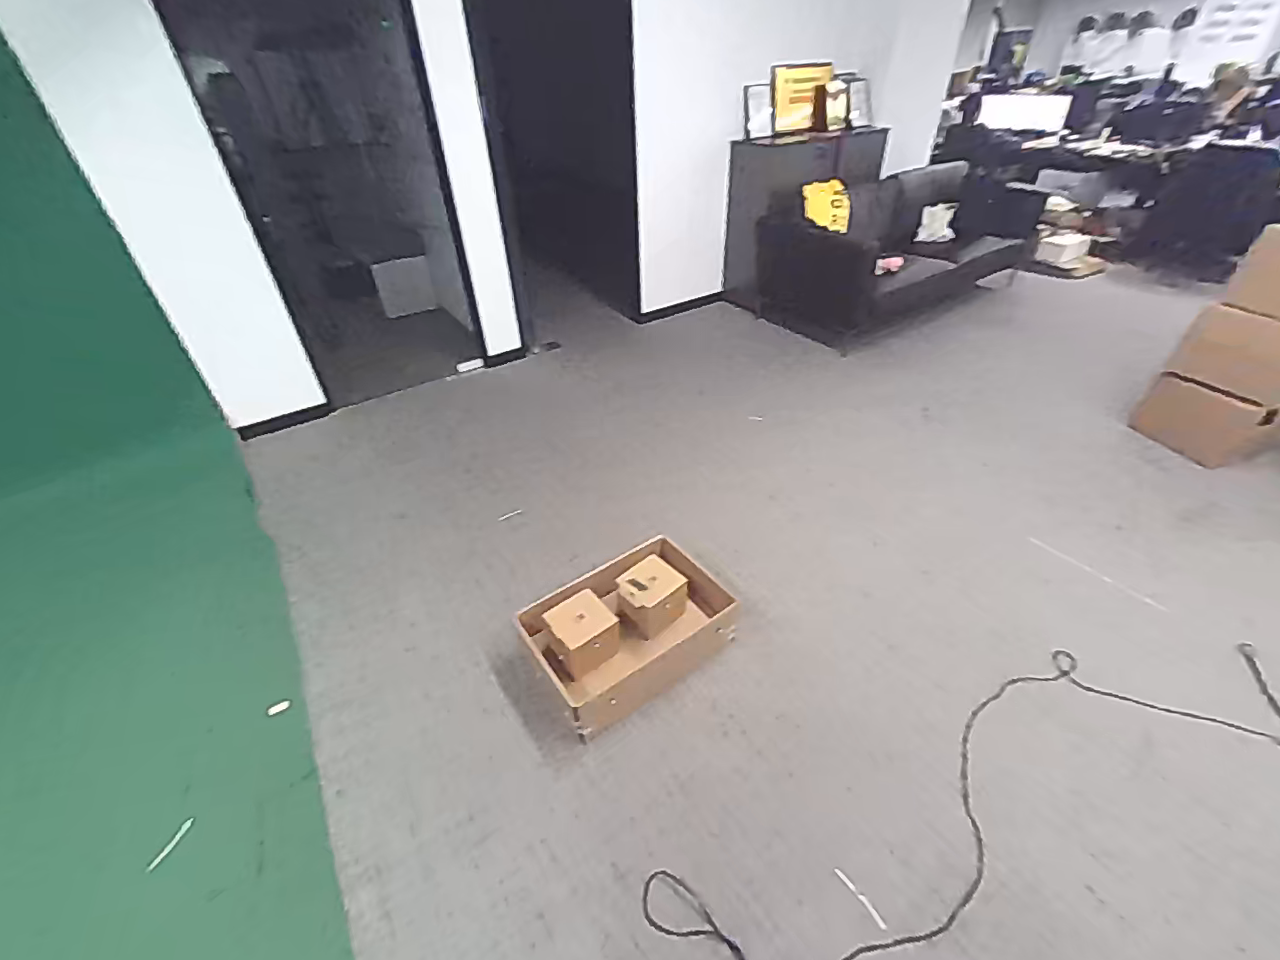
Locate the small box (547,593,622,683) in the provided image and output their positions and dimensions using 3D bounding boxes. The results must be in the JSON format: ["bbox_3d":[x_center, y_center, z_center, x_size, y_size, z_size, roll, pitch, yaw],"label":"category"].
[{"bbox_3d":[-0.167,0.497,1.695,0.179,0.176,0.168,-27,45,-30],"label":"small box"}]

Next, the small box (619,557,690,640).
[{"bbox_3d":[0.052,0.398,1.807,0.179,0.176,0.168,-31,46,-31],"label":"small box"}]
